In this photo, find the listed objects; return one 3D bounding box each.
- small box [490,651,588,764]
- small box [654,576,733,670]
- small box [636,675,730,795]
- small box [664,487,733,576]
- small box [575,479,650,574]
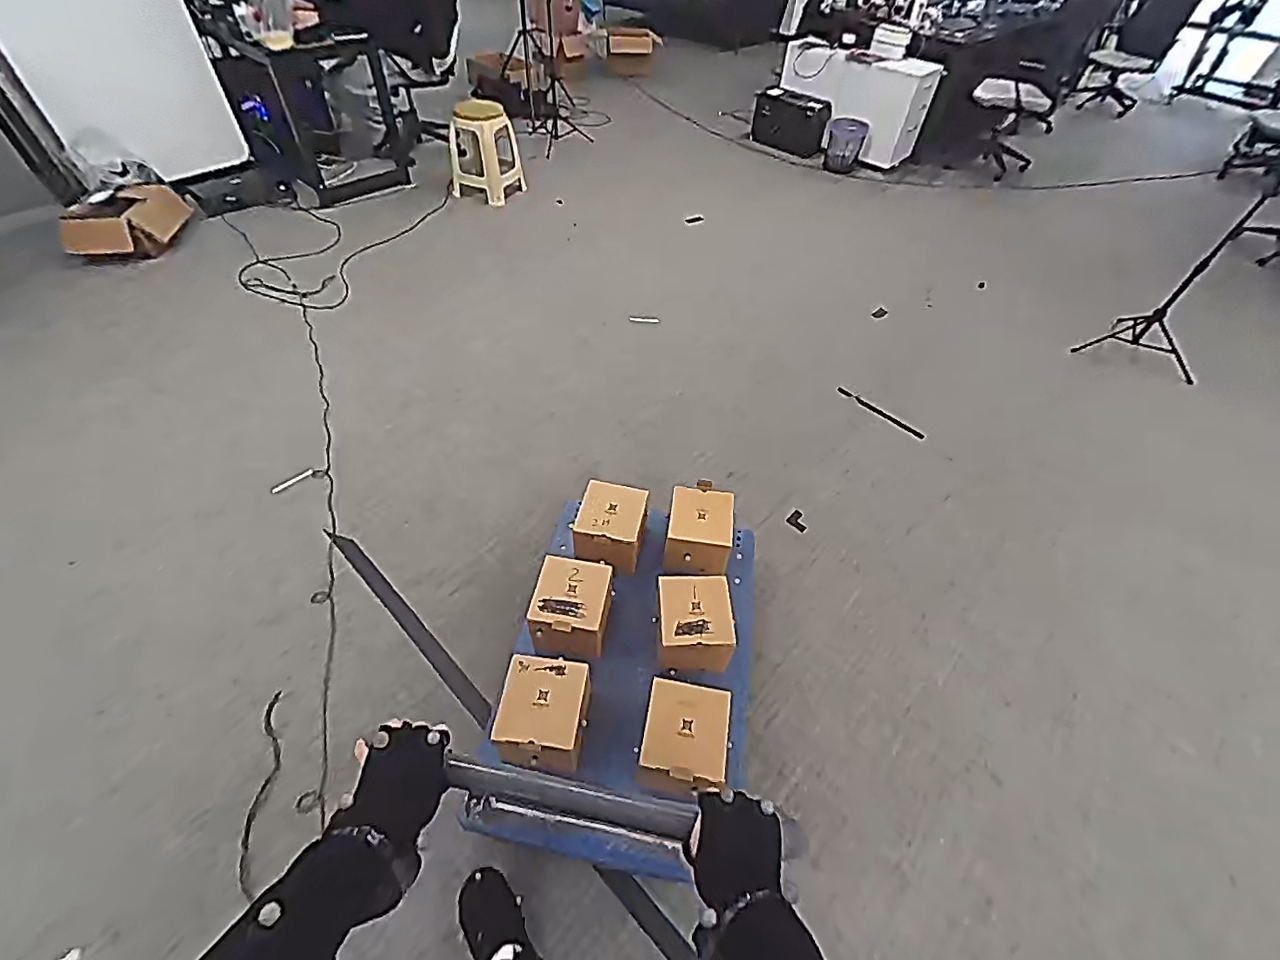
[{"bbox_3d":[-0.206,0.495,1.164,0.168,0.176,0.179,8,50,2],"label":"small box"},{"bbox_3d":[0.123,0.349,1.310,0.168,0.176,0.179,1,49,-3],"label":"small box"},{"bbox_3d":[0.088,0.544,1.144,0.168,0.176,0.179,11,50,5],"label":"small box"},{"bbox_3d":[0.159,0.145,1.486,0.168,0.176,0.179,8,50,3],"label":"small box"},{"bbox_3d":[-0.076,0.129,1.479,0.168,0.176,0.179,12,51,6],"label":"small box"}]
